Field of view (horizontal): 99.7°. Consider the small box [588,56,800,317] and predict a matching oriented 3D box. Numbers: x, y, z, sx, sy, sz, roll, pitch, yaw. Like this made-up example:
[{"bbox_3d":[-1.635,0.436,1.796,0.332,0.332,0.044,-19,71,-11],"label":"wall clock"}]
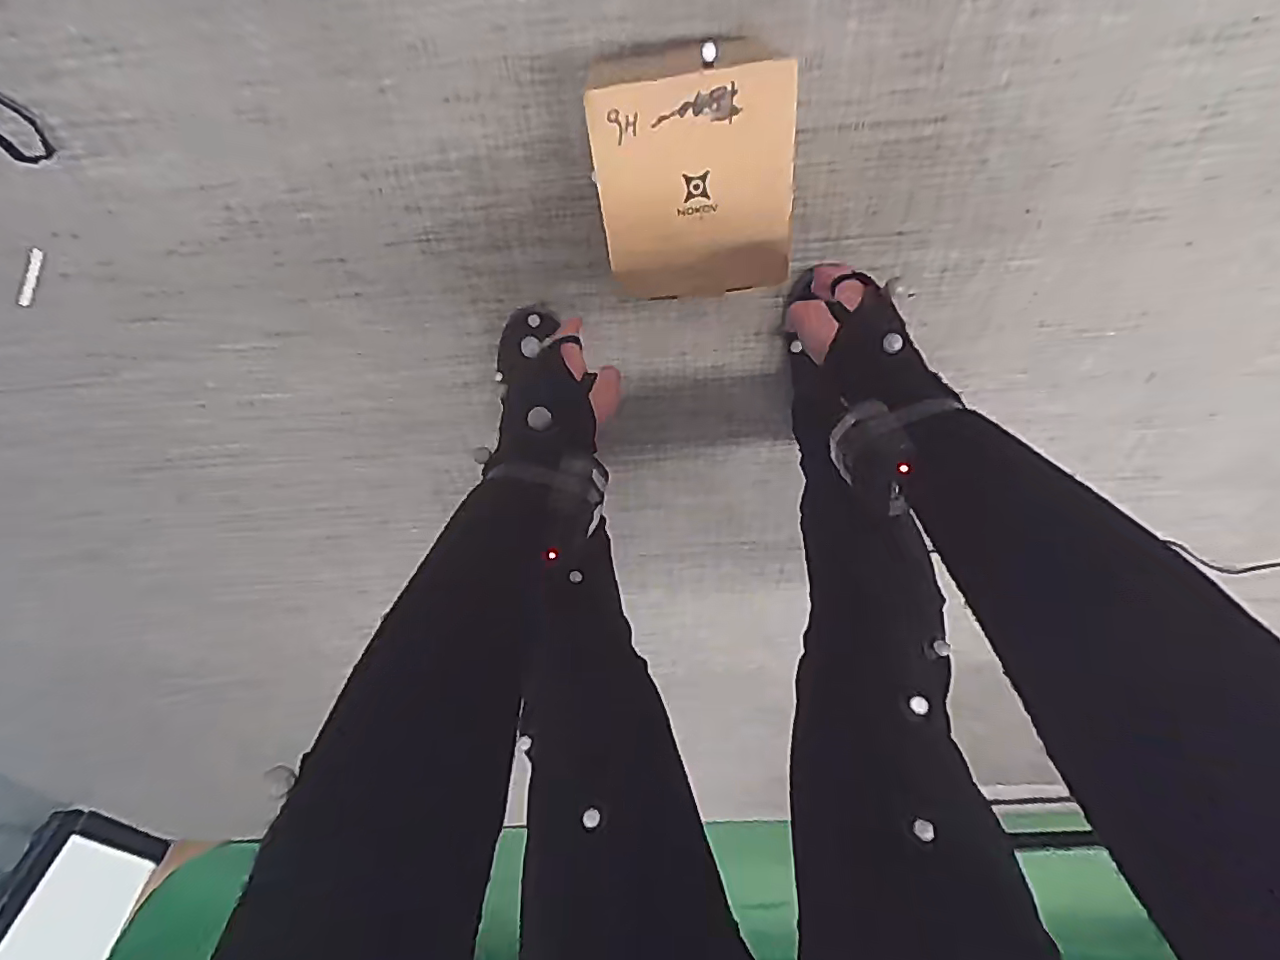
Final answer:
[{"bbox_3d":[0.049,-0.285,0.527,0.168,0.176,0.179,-5,133,4],"label":"small box"}]
